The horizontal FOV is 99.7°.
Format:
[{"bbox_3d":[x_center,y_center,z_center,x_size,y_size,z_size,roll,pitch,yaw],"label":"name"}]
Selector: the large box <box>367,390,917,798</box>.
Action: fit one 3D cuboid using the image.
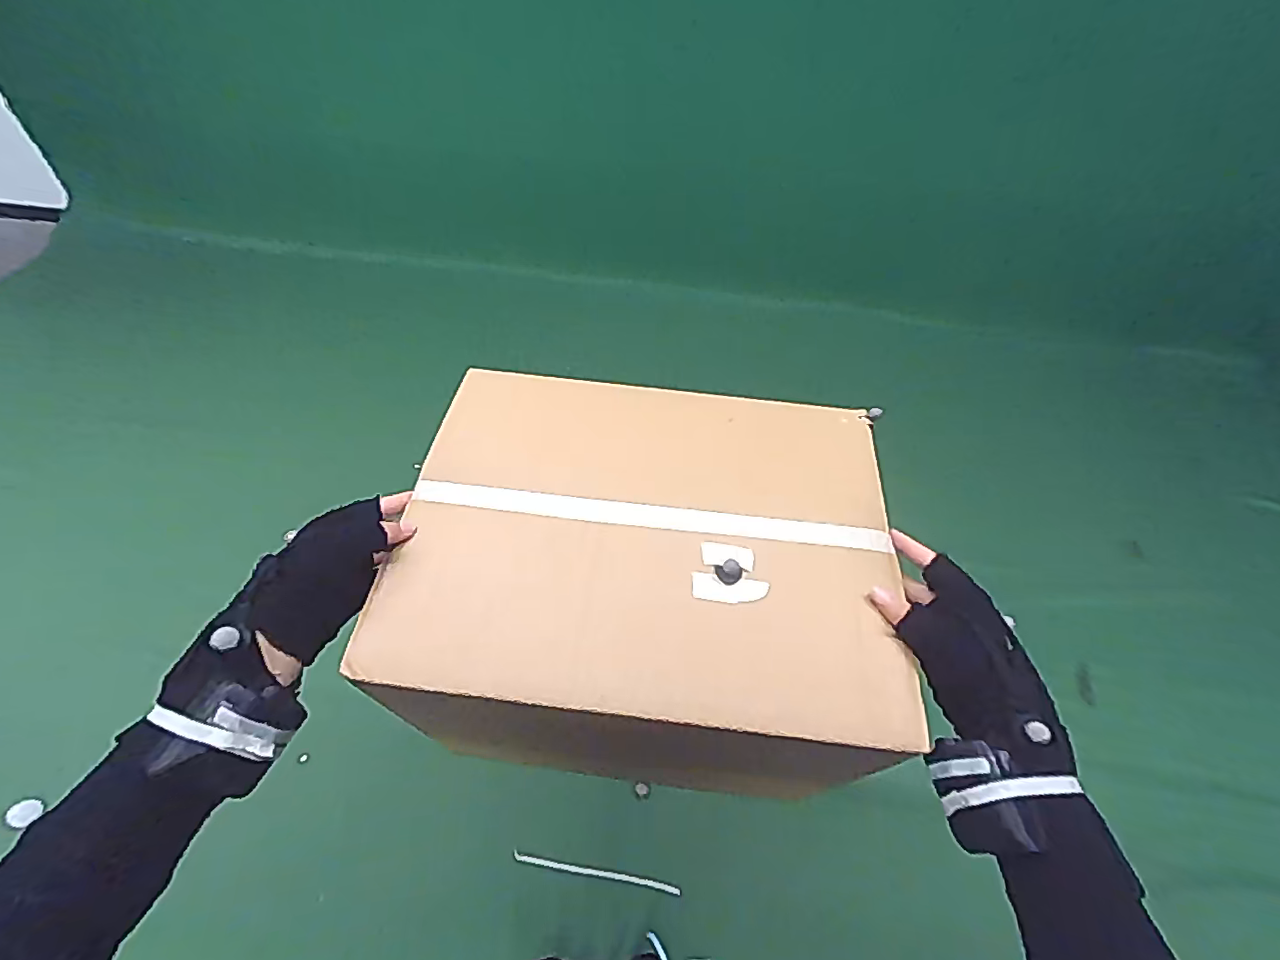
[{"bbox_3d":[0.006,0.132,0.589,0.408,0.320,0.320,6,54,2],"label":"large box"}]
